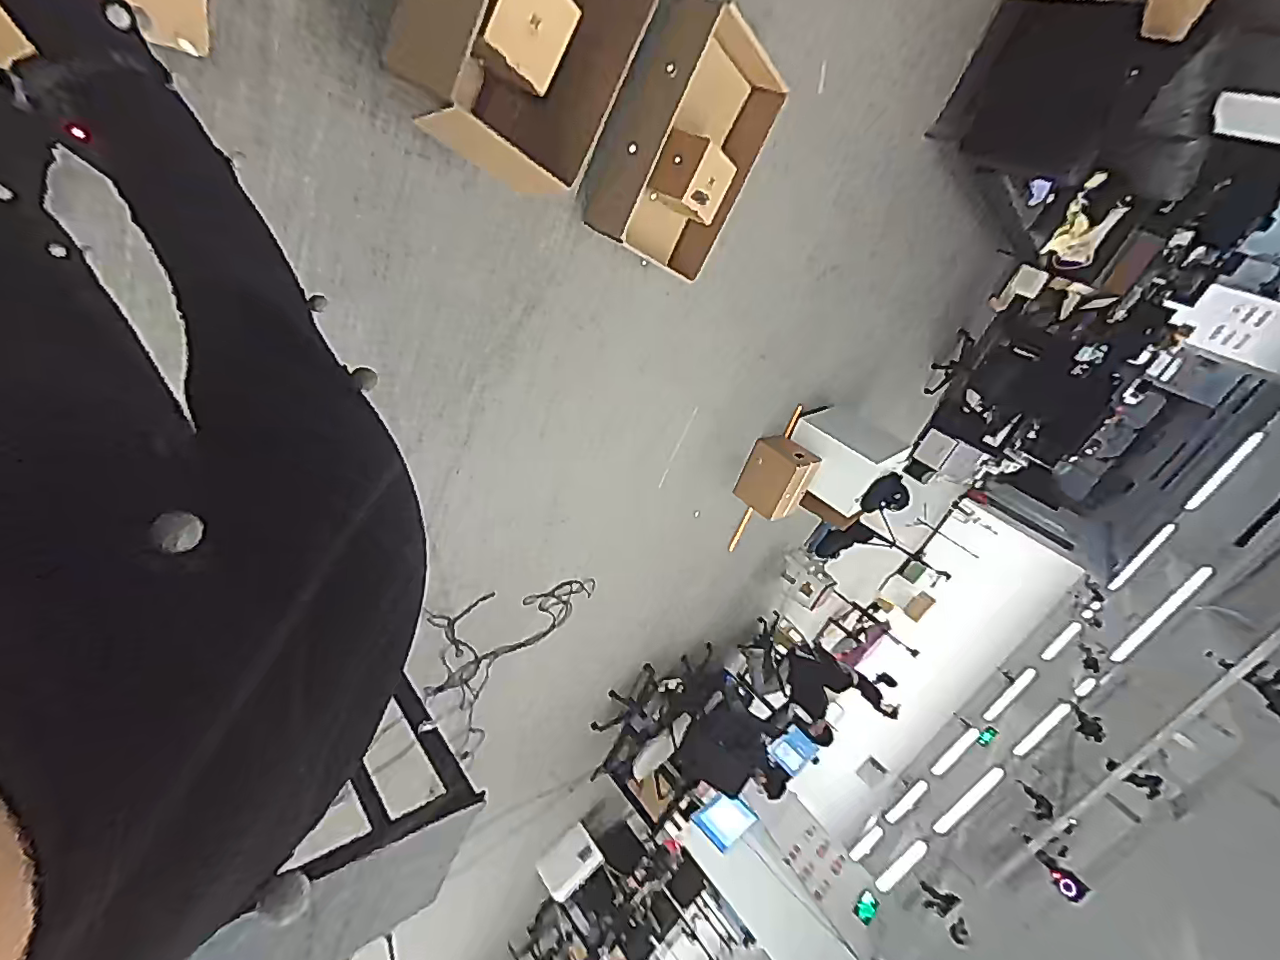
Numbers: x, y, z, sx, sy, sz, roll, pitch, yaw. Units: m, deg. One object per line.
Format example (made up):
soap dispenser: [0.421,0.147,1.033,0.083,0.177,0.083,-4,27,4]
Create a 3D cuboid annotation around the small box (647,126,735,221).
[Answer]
small box: [0.144,-0.914,1.615,0.168,0.176,0.179,5,118,-54]
